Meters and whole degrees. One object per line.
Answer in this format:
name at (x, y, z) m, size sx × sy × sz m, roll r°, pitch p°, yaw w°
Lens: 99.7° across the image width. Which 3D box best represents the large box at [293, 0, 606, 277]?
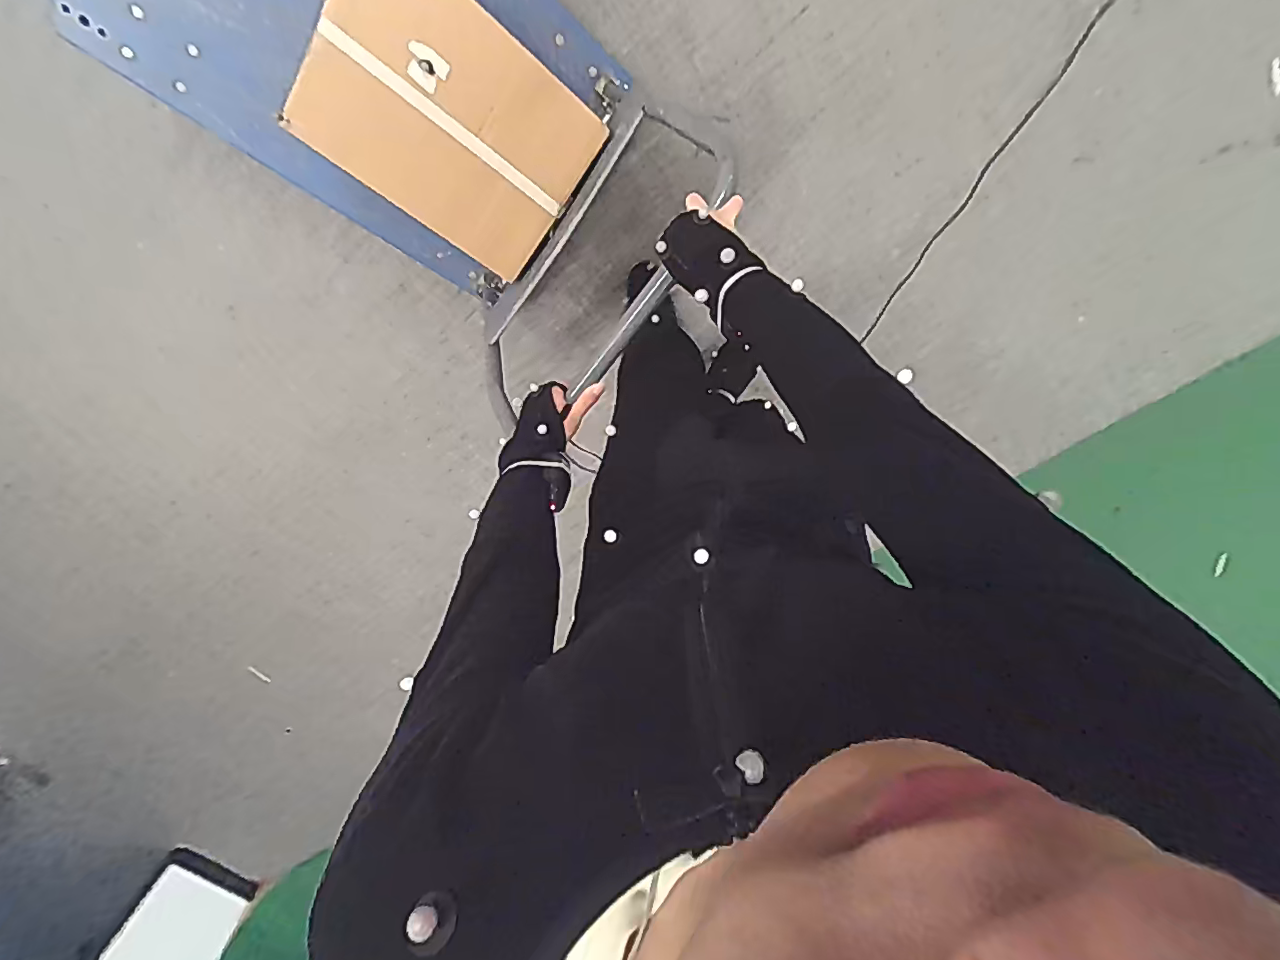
large box at (-0.321, -0.656, 0.994) m, size 0.408 × 0.320 × 0.320 m, roll 29°, pitch 116°, yaw -29°
